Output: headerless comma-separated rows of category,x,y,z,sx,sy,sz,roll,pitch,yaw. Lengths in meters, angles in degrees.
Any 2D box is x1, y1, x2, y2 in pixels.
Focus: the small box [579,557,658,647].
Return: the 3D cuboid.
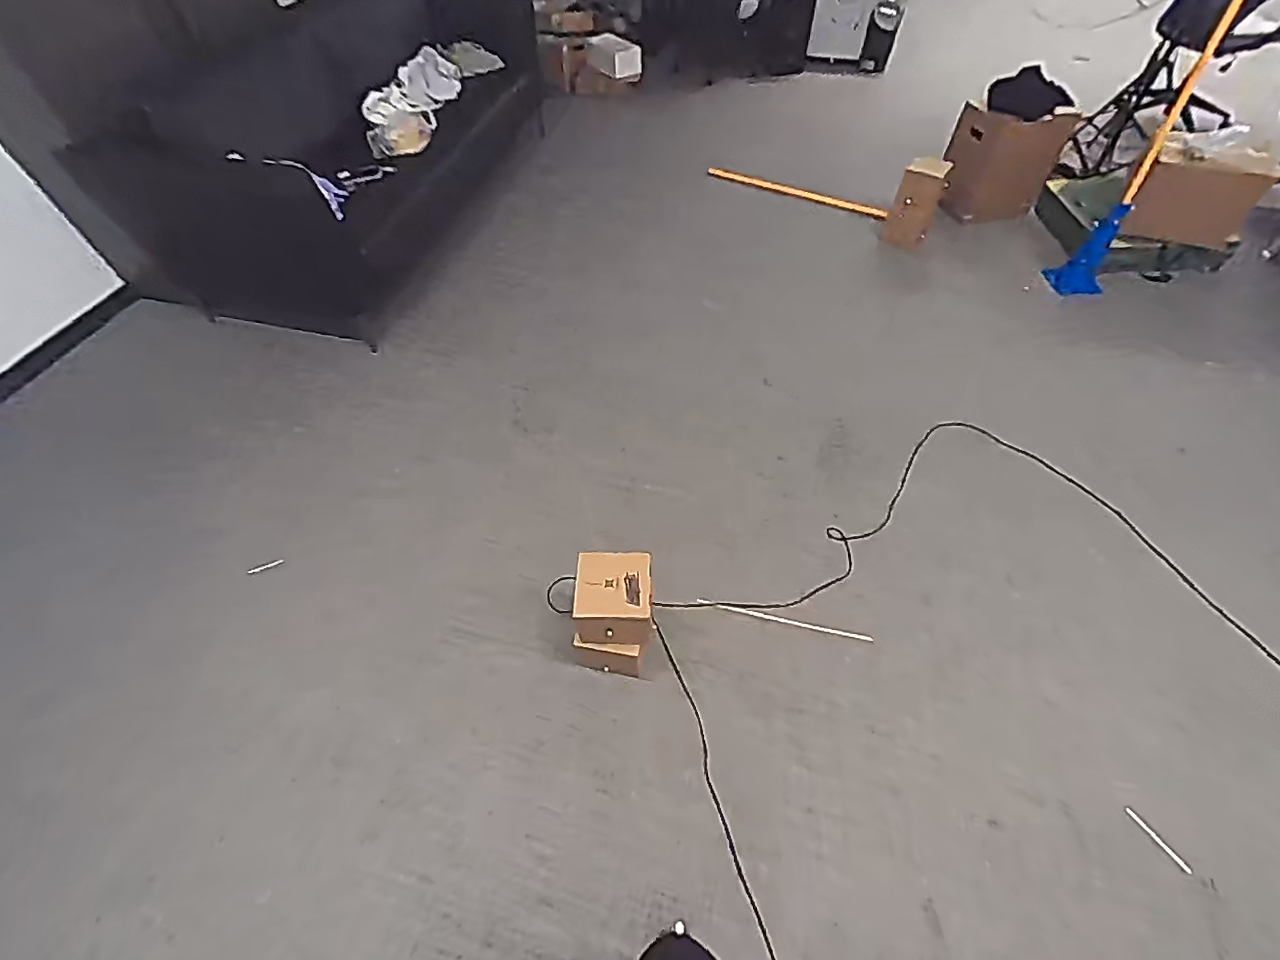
small box,-0.045,0.299,1.319,0.179,0.176,0.168,-1,53,4
